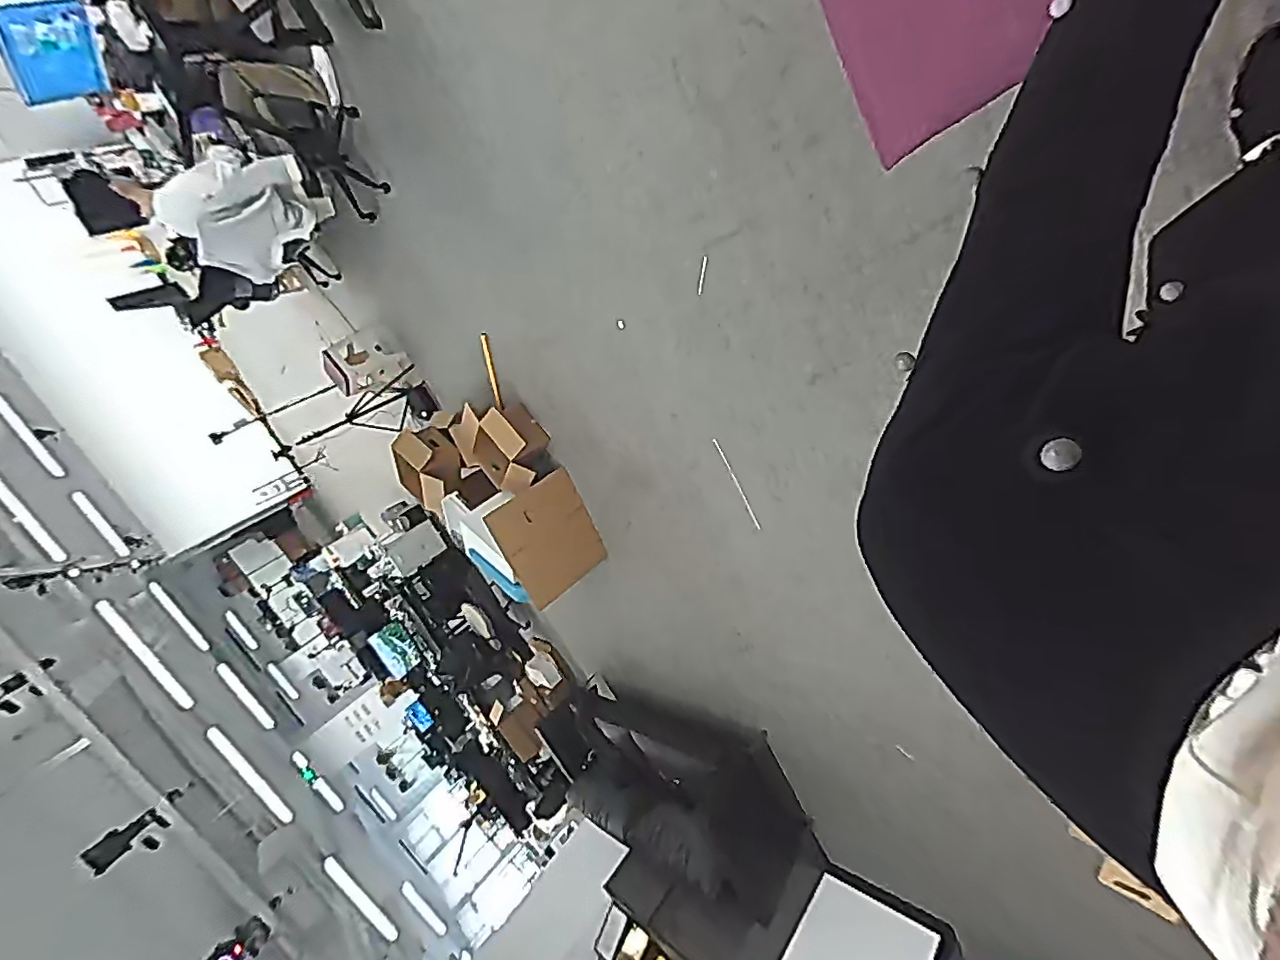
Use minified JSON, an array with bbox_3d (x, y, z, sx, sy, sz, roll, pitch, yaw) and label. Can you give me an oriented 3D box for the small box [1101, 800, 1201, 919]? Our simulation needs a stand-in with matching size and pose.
[{"bbox_3d":[1.420,1.047,1.502,0.168,0.176,0.179,16,130,42],"label":"small box"}]
